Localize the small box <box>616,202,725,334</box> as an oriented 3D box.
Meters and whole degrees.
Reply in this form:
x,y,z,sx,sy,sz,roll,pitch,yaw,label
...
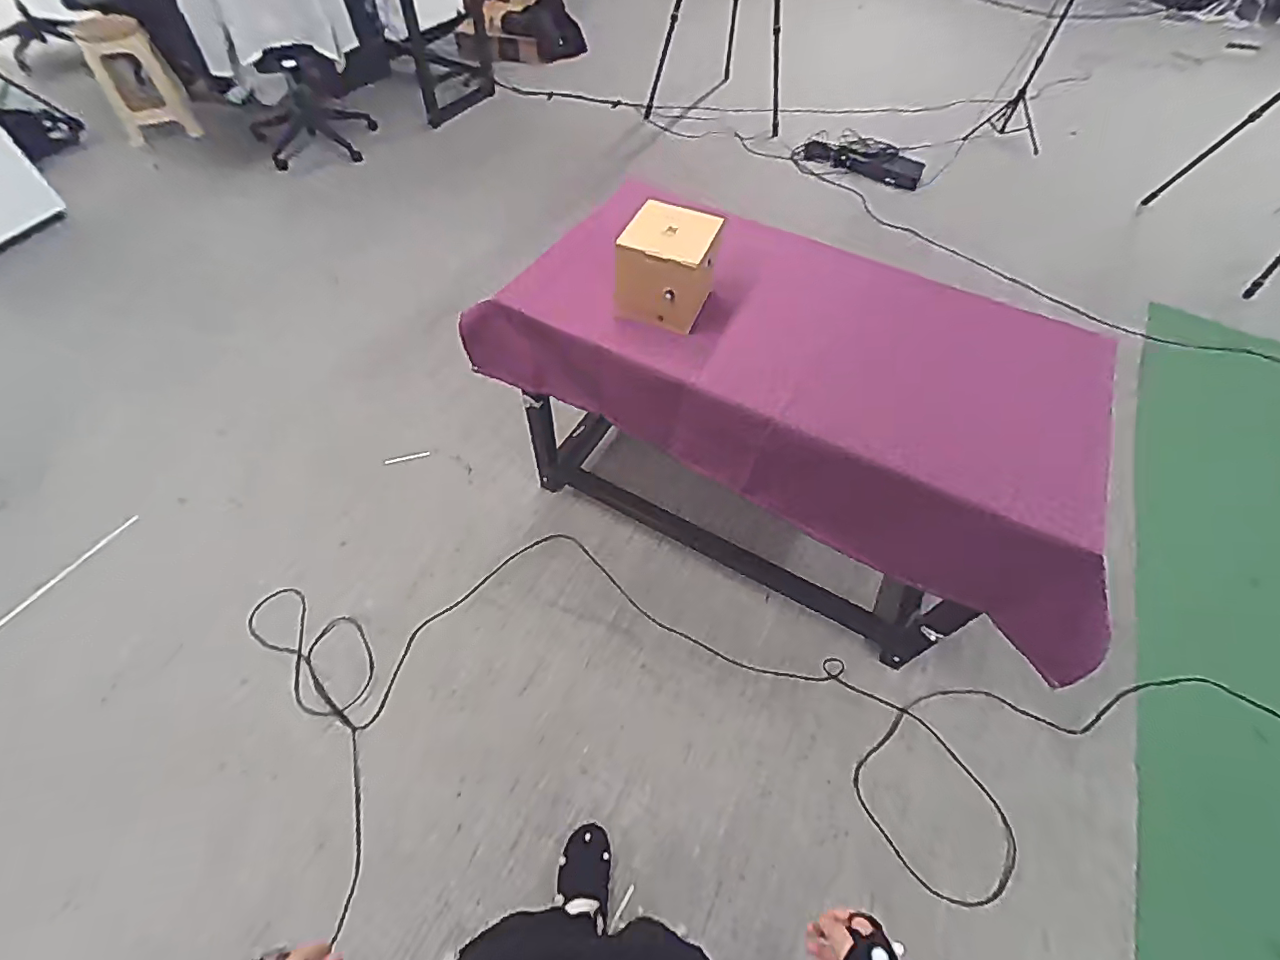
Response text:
x,y,z,sx,sy,sz,roll,pitch,yaw,label
0.060,-0.430,1.108,0.168,0.176,0.179,21,56,10,small box
